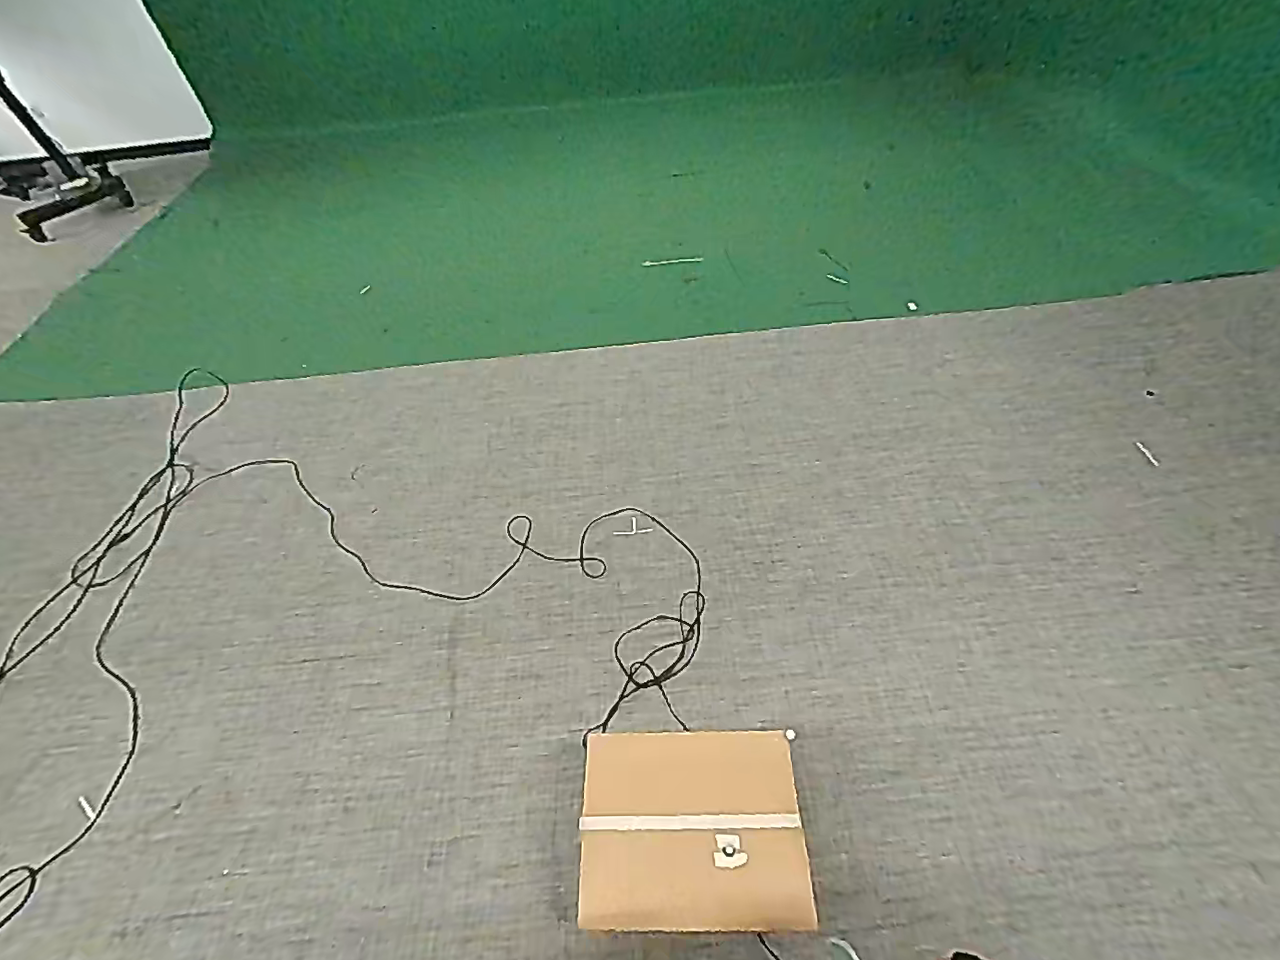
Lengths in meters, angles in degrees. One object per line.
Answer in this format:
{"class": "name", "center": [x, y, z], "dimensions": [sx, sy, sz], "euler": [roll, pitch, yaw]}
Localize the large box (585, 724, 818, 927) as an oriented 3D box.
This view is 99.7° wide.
{"class": "large box", "center": [0.109, 0.716, 1.117], "dimensions": [0.408, 0.320, 0.320], "euler": [-3, 52, 3]}
